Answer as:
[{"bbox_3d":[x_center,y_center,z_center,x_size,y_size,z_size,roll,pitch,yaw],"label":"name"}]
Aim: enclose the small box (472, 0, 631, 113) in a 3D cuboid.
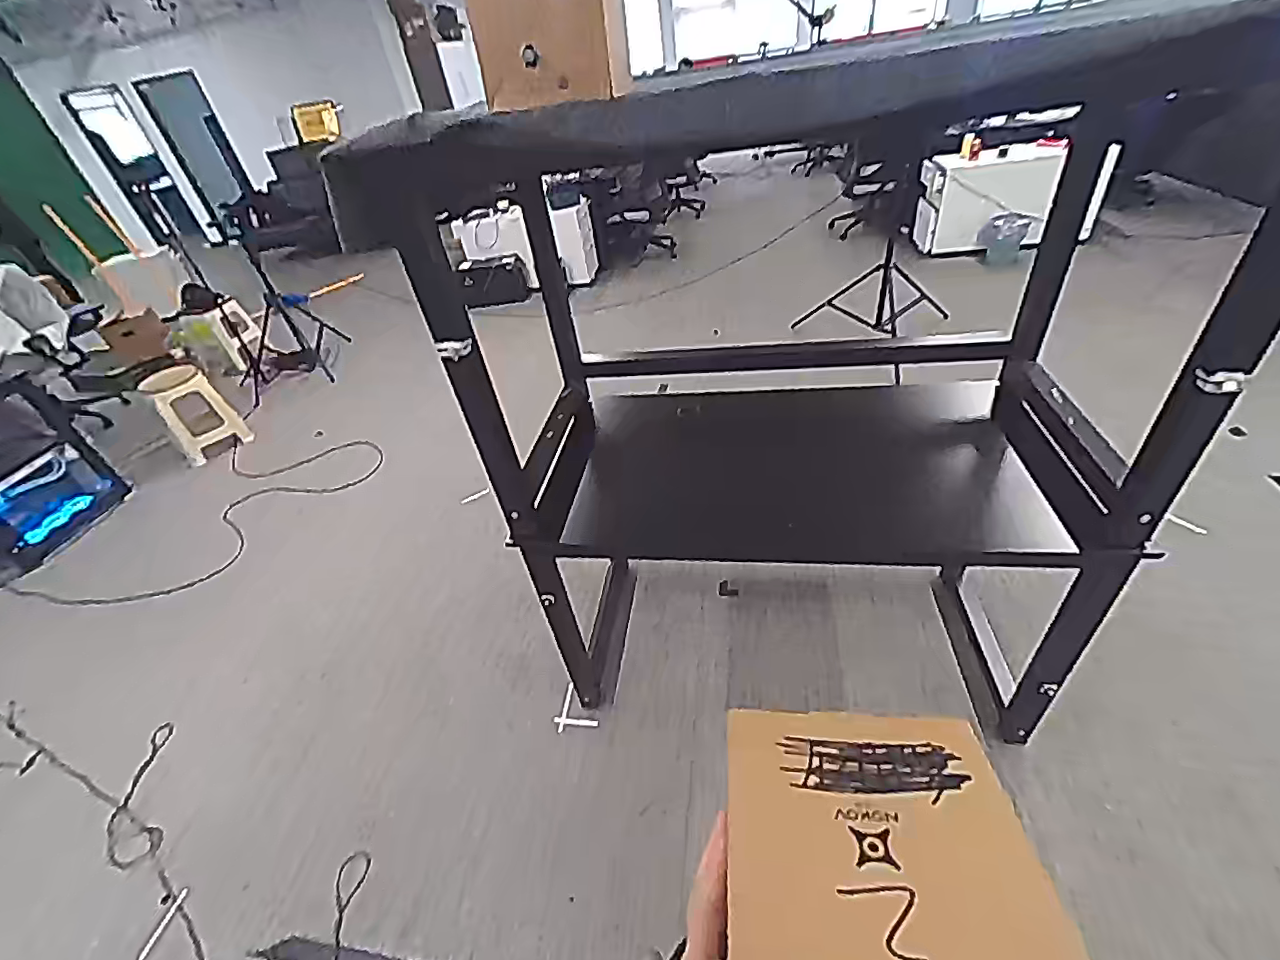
[{"bbox_3d":[-0.108,-0.587,0.700,0.168,0.176,0.179,0,38,10],"label":"small box"}]
